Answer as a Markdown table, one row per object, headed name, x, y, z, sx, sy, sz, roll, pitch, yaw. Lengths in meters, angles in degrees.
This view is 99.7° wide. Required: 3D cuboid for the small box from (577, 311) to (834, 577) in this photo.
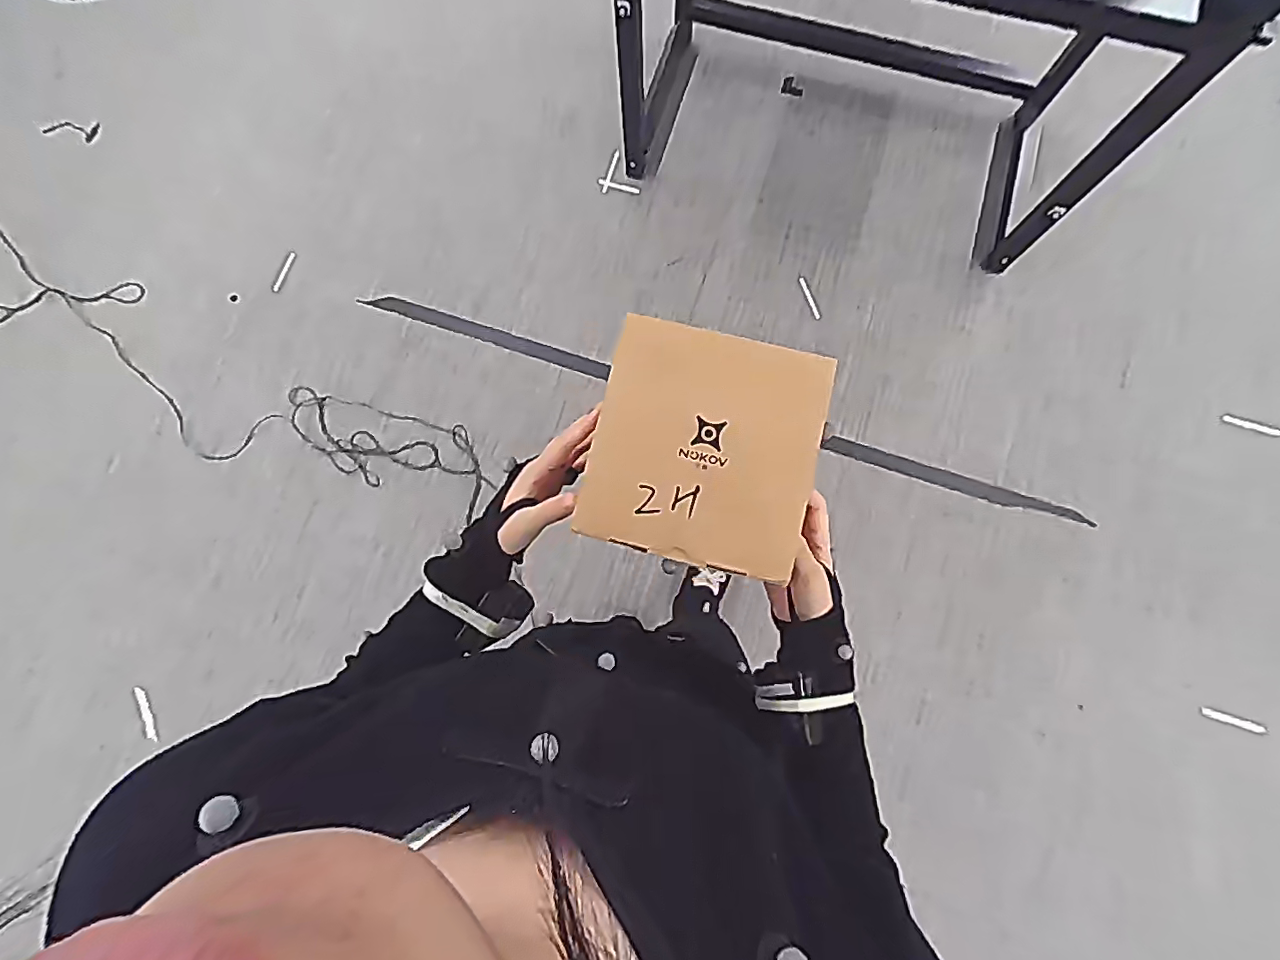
| name | x | y | z | sx | sy | sz | roll | pitch | yaw |
| --- | --- | --- | --- | --- | --- | --- | --- | --- | --- |
| small box | 0.053 | -0.021 | 0.488 | 0.168 | 0.176 | 0.179 | 14 | 84 | 4 |
